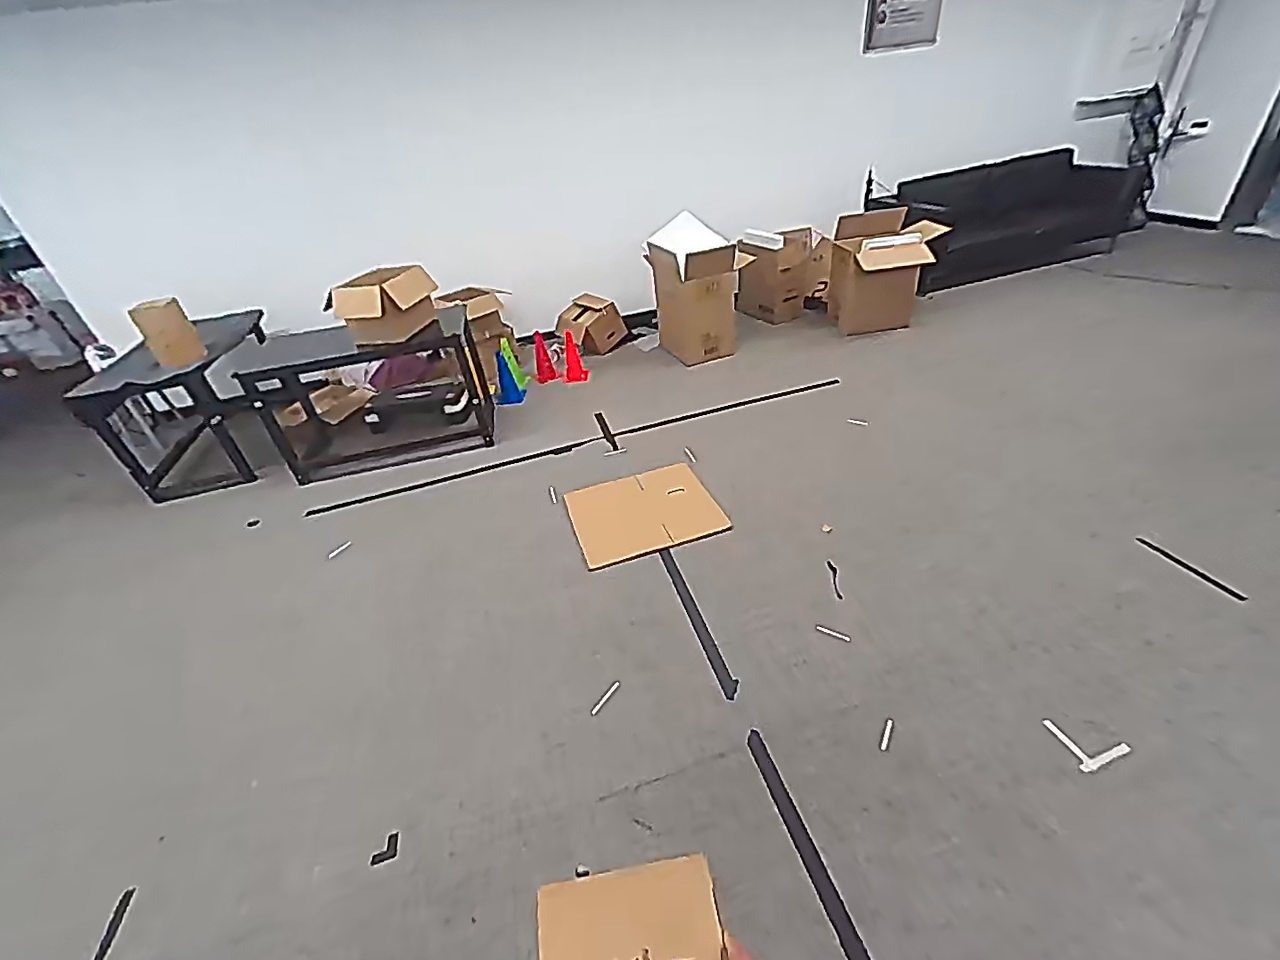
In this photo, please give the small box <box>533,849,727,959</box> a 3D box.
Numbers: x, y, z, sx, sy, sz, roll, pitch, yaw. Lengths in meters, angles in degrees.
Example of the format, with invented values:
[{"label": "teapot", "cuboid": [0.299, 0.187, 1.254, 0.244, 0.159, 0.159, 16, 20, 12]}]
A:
[{"label": "small box", "cuboid": [-0.009, 0.502, 0.548, 0.179, 0.176, 0.168, -6, 47, -9]}]
